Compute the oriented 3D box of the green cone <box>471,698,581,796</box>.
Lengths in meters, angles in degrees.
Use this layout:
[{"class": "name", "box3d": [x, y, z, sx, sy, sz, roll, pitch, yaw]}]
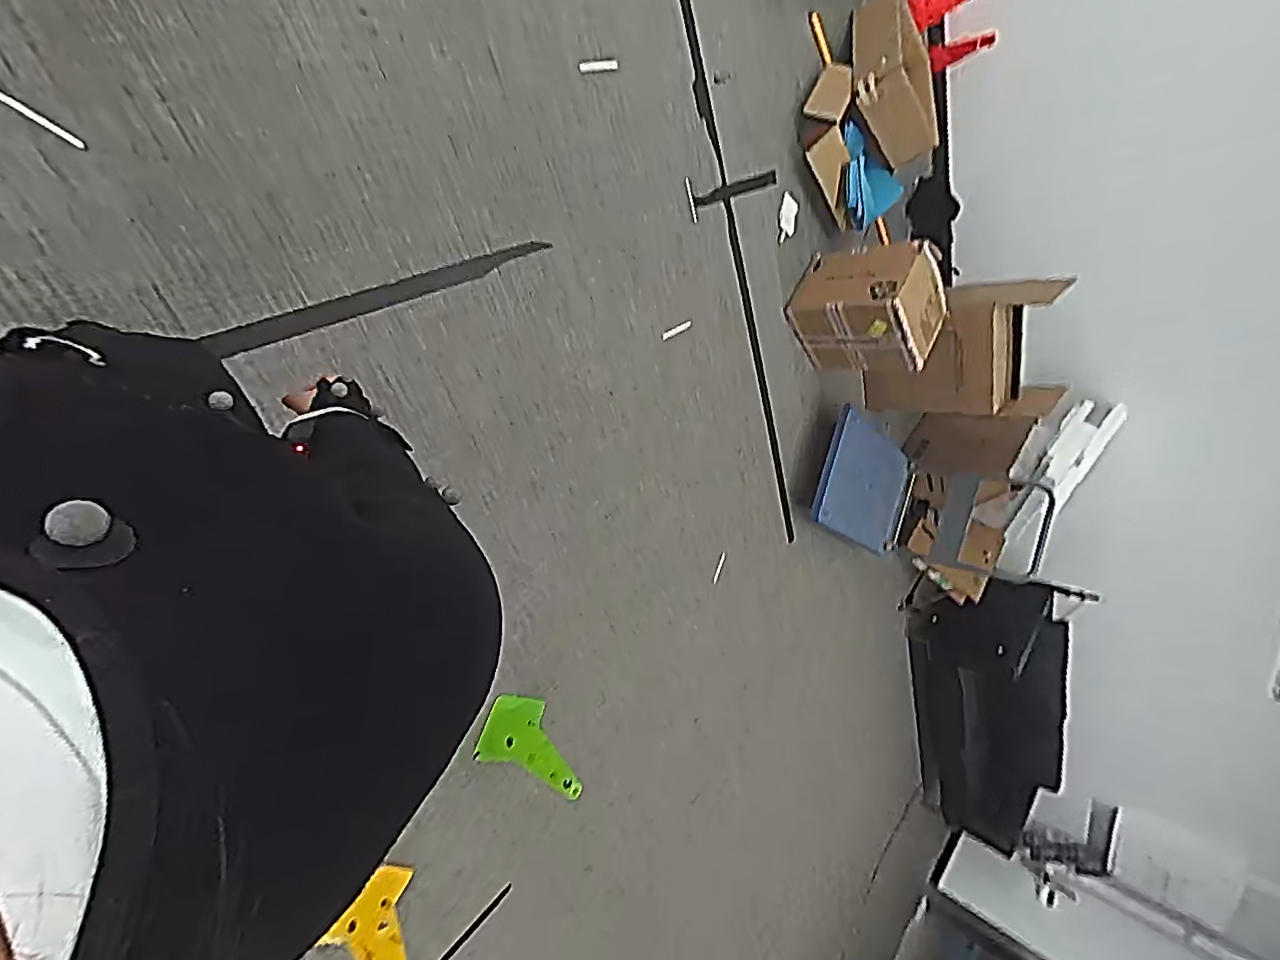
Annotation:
[{"class": "green cone", "box3d": [-0.296, 0.811, 1.576, 0.200, 0.368, 0.202, 29, 77, -44]}]
